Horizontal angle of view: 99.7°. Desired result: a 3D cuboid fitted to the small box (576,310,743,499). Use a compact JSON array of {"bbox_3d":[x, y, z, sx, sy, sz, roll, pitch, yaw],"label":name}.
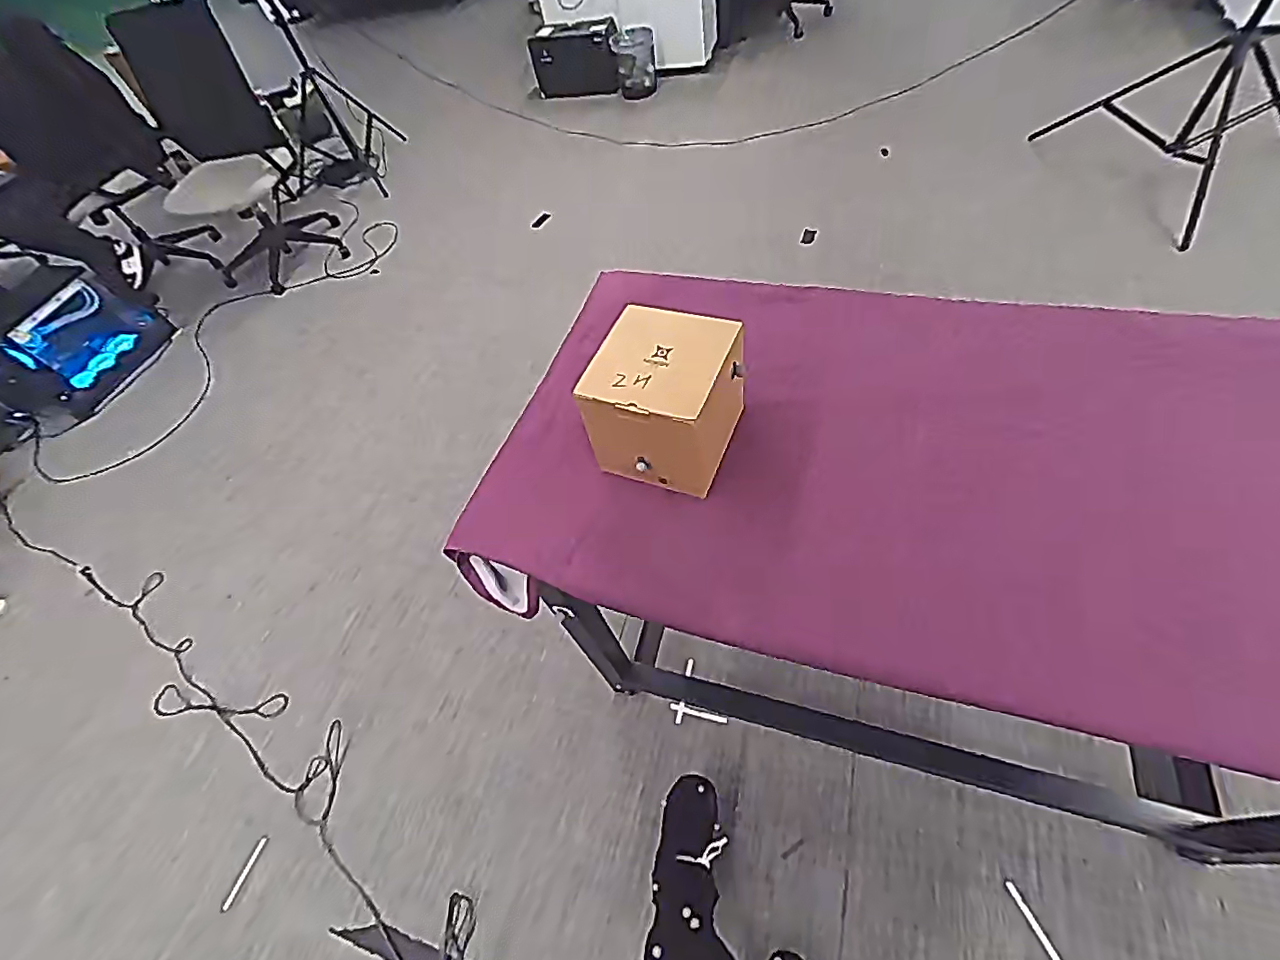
[{"bbox_3d":[0.036,-0.104,0.752,0.168,0.176,0.179,15,60,21],"label":"small box"}]
